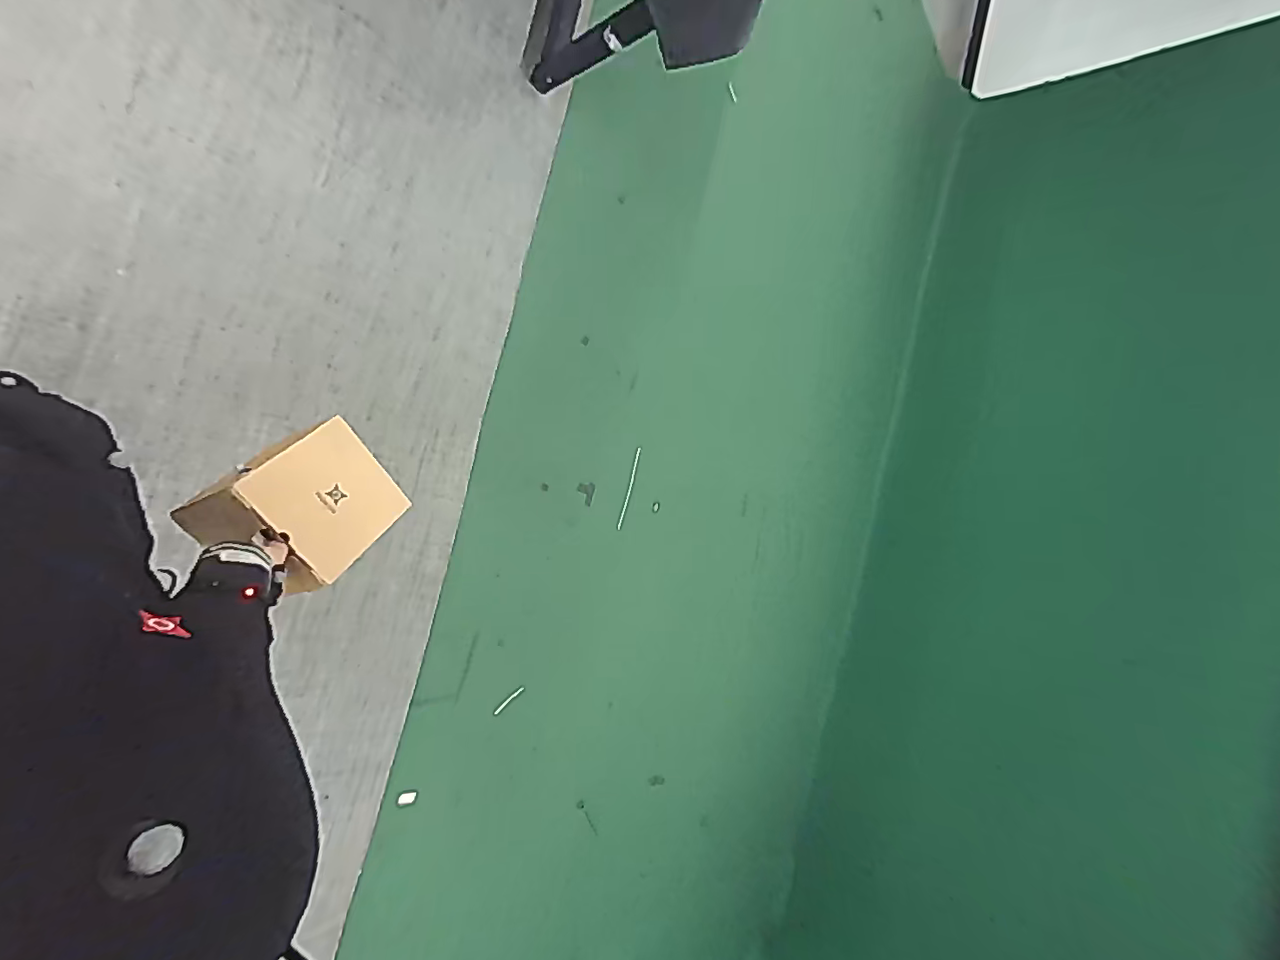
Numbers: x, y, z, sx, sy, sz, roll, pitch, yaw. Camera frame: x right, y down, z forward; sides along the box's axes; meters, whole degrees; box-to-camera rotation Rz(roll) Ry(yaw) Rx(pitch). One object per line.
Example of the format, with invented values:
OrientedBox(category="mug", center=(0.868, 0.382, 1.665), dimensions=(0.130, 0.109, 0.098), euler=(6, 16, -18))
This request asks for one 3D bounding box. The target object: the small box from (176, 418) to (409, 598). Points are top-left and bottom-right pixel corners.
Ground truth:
OrientedBox(category="small box", center=(-0.472, 0.041, 0.746), dimensions=(0.168, 0.176, 0.179), euler=(61, 33, -26))
